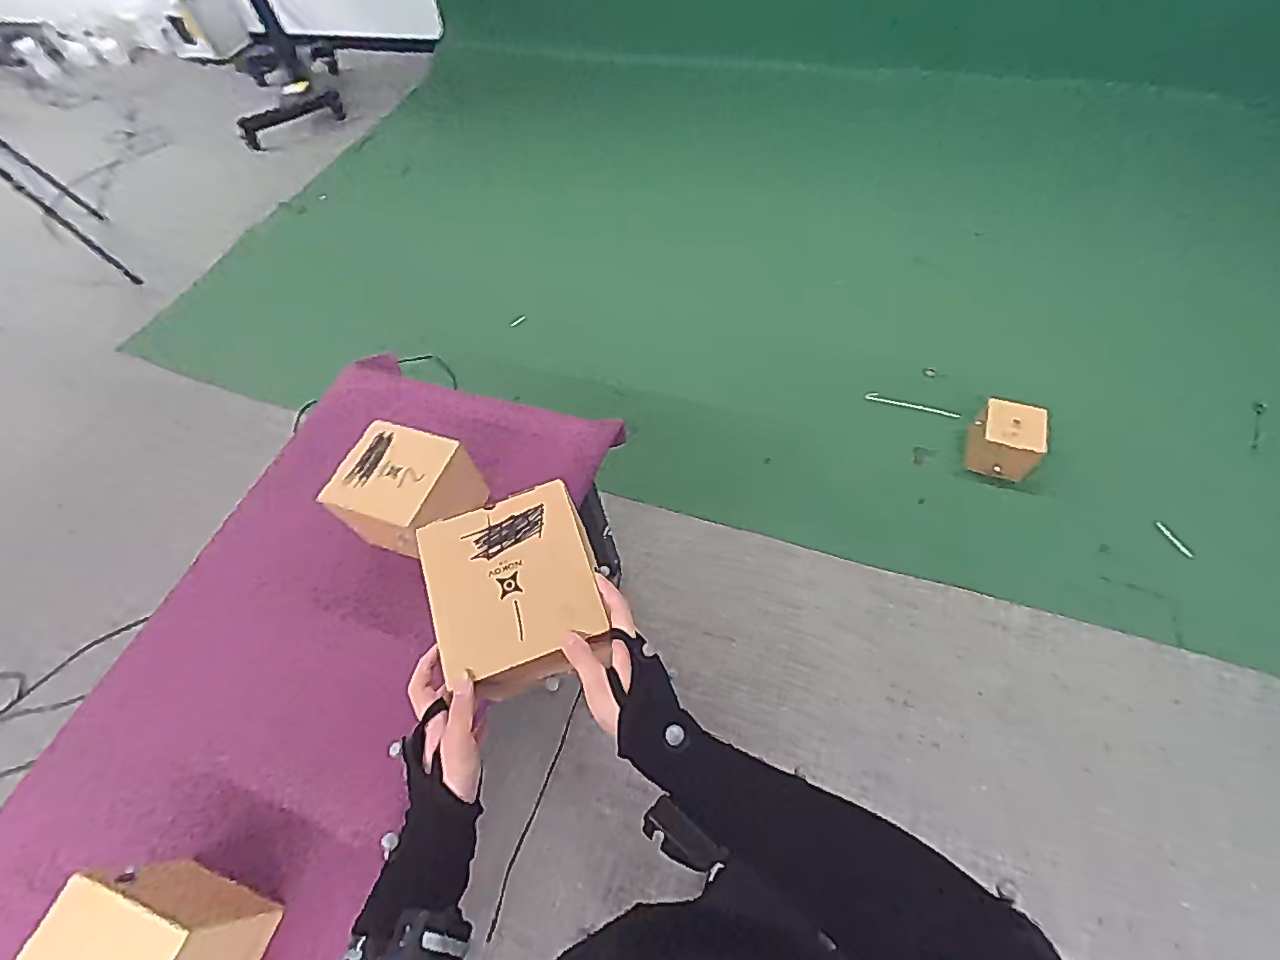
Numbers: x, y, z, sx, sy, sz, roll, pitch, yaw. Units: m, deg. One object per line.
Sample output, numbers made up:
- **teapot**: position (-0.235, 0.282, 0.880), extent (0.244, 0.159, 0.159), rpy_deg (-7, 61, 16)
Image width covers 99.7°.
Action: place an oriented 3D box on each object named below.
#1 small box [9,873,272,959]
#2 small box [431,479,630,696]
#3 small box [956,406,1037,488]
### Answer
- **small box**: position (-0.576, 0.571, 0.612), extent (0.179, 0.176, 0.168), rpy_deg (12, 60, 13)
- **small box**: position (-0.117, 0.129, 0.618), extent (0.168, 0.176, 0.179), rpy_deg (-19, 65, -6)
- **small box**: position (1.144, -0.105, 1.741), extent (0.168, 0.176, 0.179), rpy_deg (16, 61, 15)
